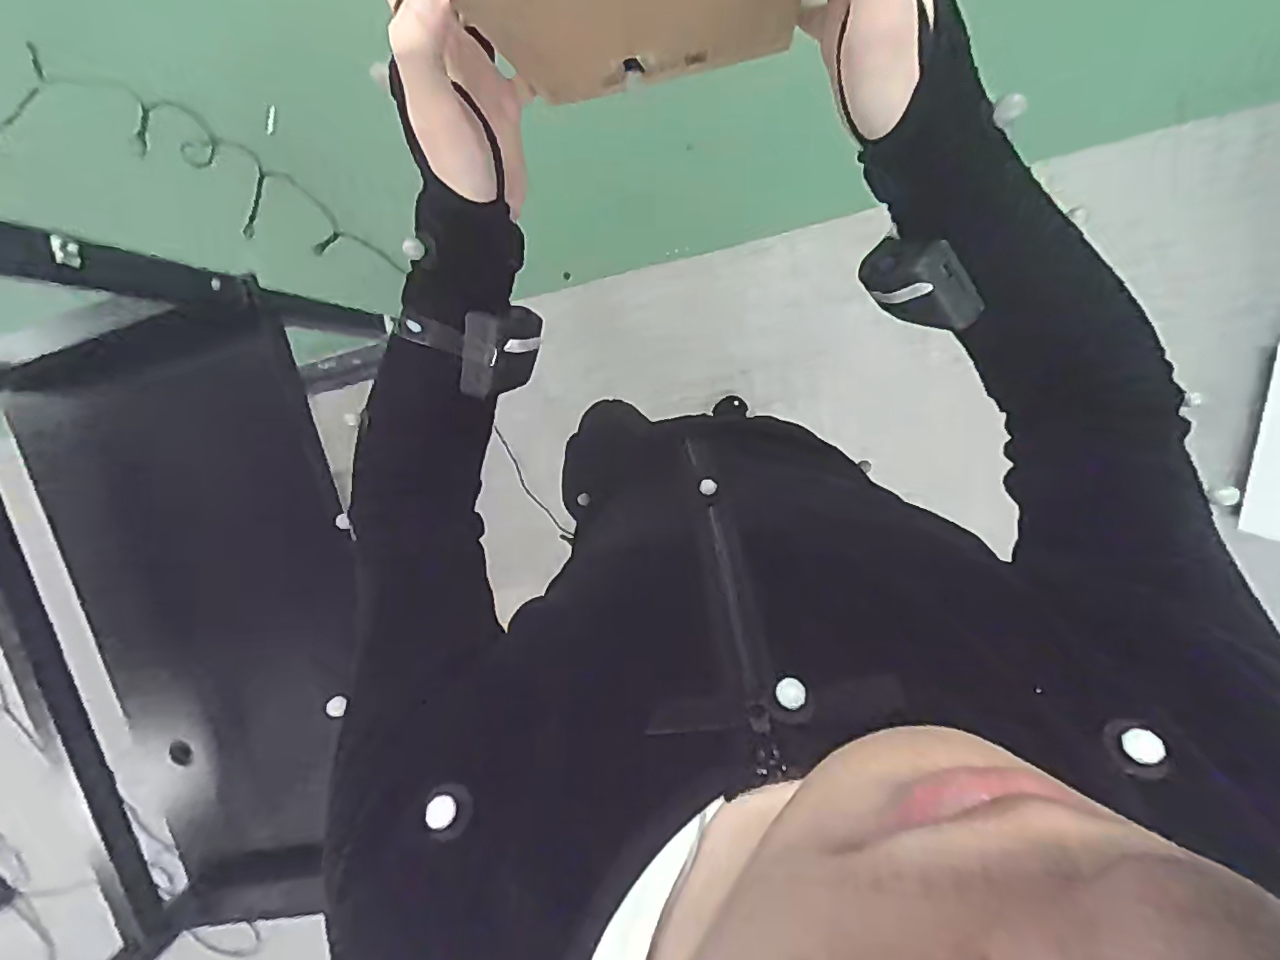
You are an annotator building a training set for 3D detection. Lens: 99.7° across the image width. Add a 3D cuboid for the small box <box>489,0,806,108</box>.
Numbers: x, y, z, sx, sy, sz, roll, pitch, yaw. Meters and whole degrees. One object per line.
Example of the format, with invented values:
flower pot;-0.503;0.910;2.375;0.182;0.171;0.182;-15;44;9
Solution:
small box;-0.002;-0.326;0.270;0.168;0.176;0.179;-5;107;12
